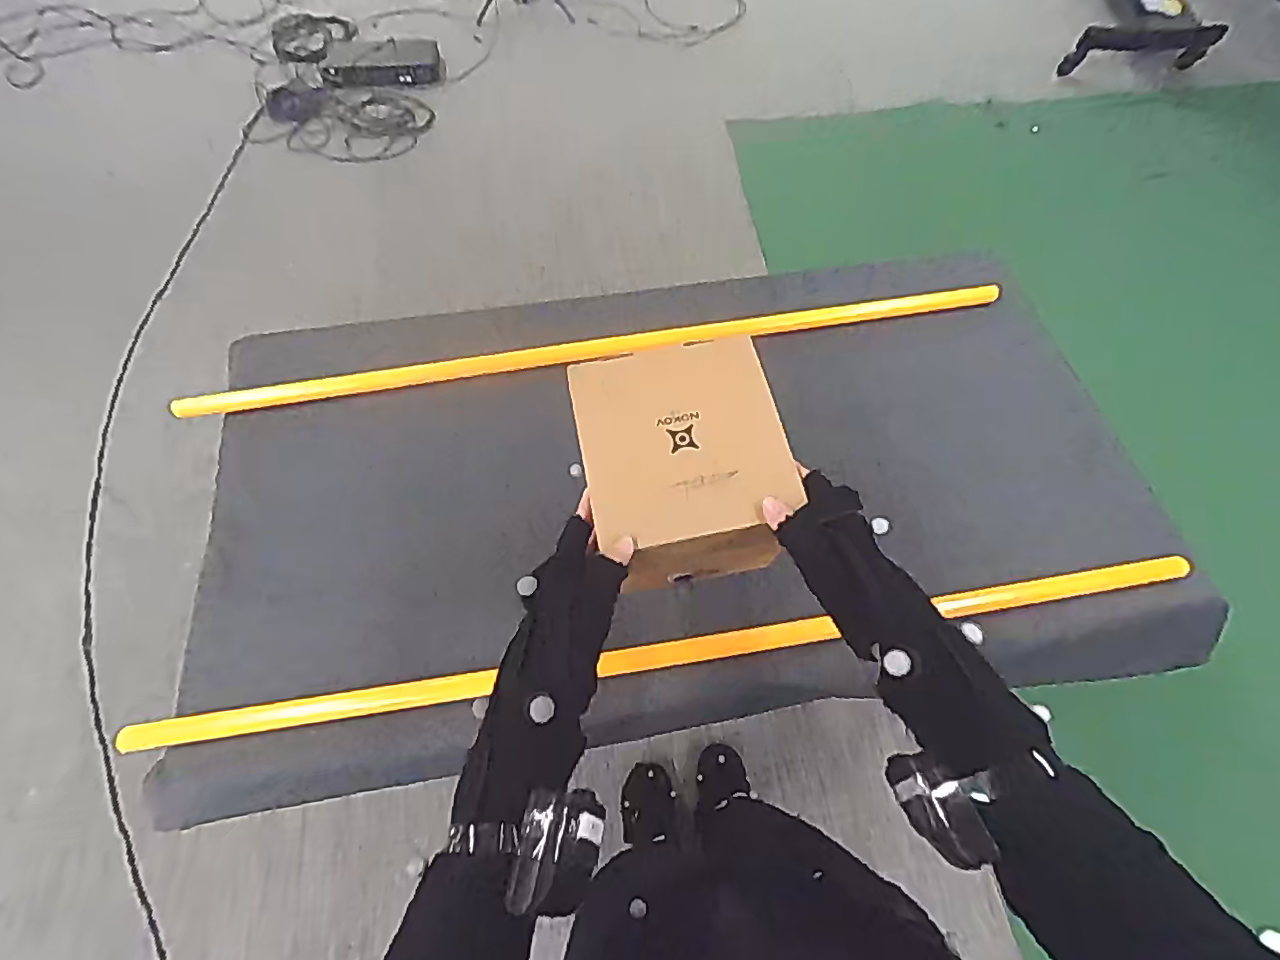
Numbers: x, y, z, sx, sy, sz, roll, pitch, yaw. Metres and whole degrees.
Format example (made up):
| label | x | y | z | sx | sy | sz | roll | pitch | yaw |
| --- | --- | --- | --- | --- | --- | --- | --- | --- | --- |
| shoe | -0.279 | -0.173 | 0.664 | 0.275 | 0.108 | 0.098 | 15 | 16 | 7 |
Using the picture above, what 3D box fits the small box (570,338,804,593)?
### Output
| label | x | y | z | sx | sy | sz | roll | pitch | yaw |
| --- | --- | --- | --- | --- | --- | --- | --- | --- | --- |
| small box | 0.033 | -0.005 | 0.522 | 0.168 | 0.176 | 0.179 | -12 | 68 | -4 |
